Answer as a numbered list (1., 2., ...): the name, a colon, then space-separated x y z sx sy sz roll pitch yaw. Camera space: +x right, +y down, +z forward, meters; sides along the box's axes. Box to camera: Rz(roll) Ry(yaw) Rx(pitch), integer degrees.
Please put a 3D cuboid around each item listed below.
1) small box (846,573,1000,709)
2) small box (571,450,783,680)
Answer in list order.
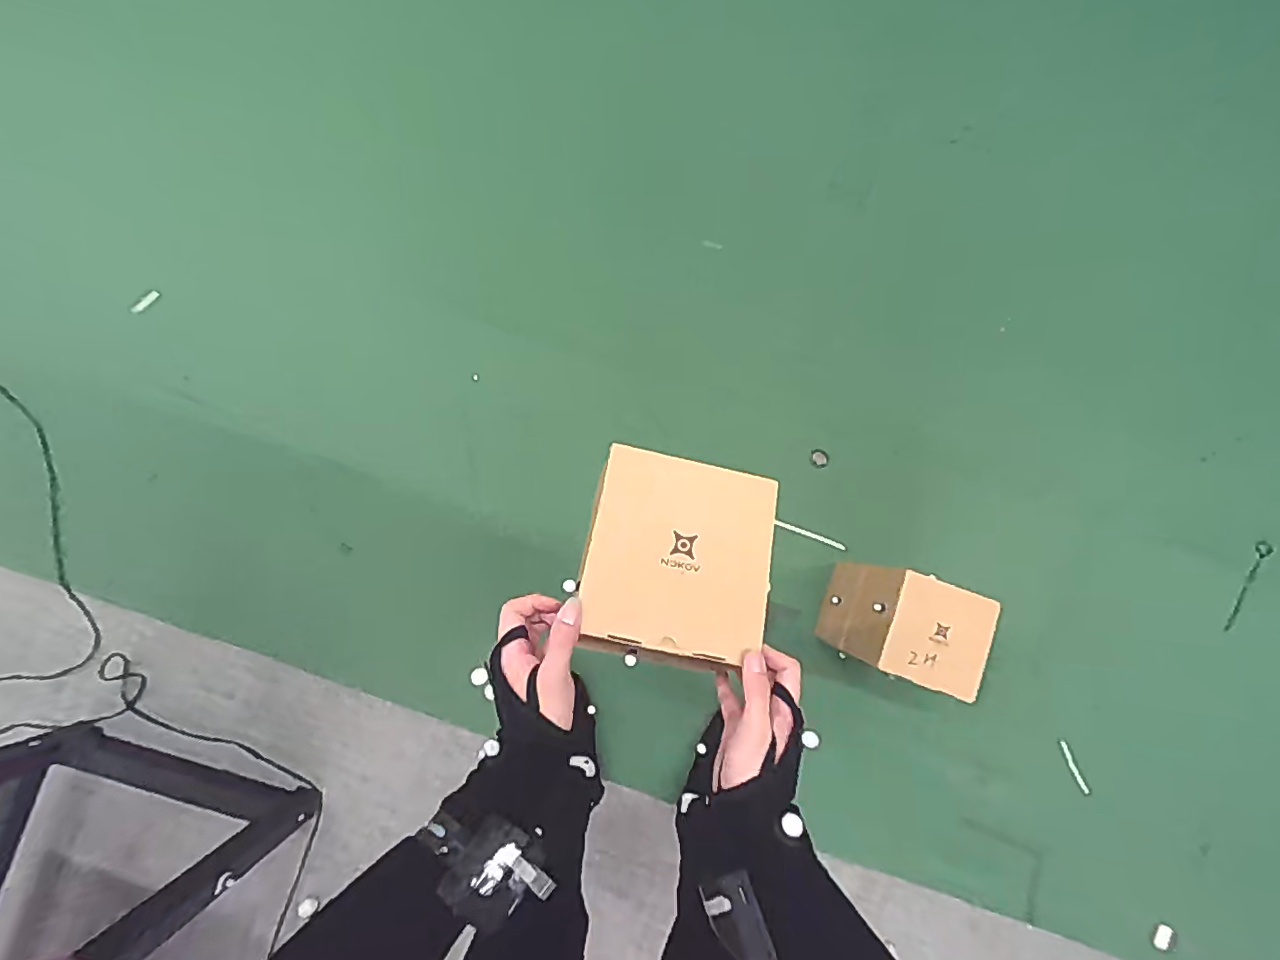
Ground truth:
1. small box: 0.494 0.275 0.970 0.168 0.176 0.179 20 84 3
2. small box: 0.028 0.094 0.544 0.168 0.176 0.179 13 70 -6
